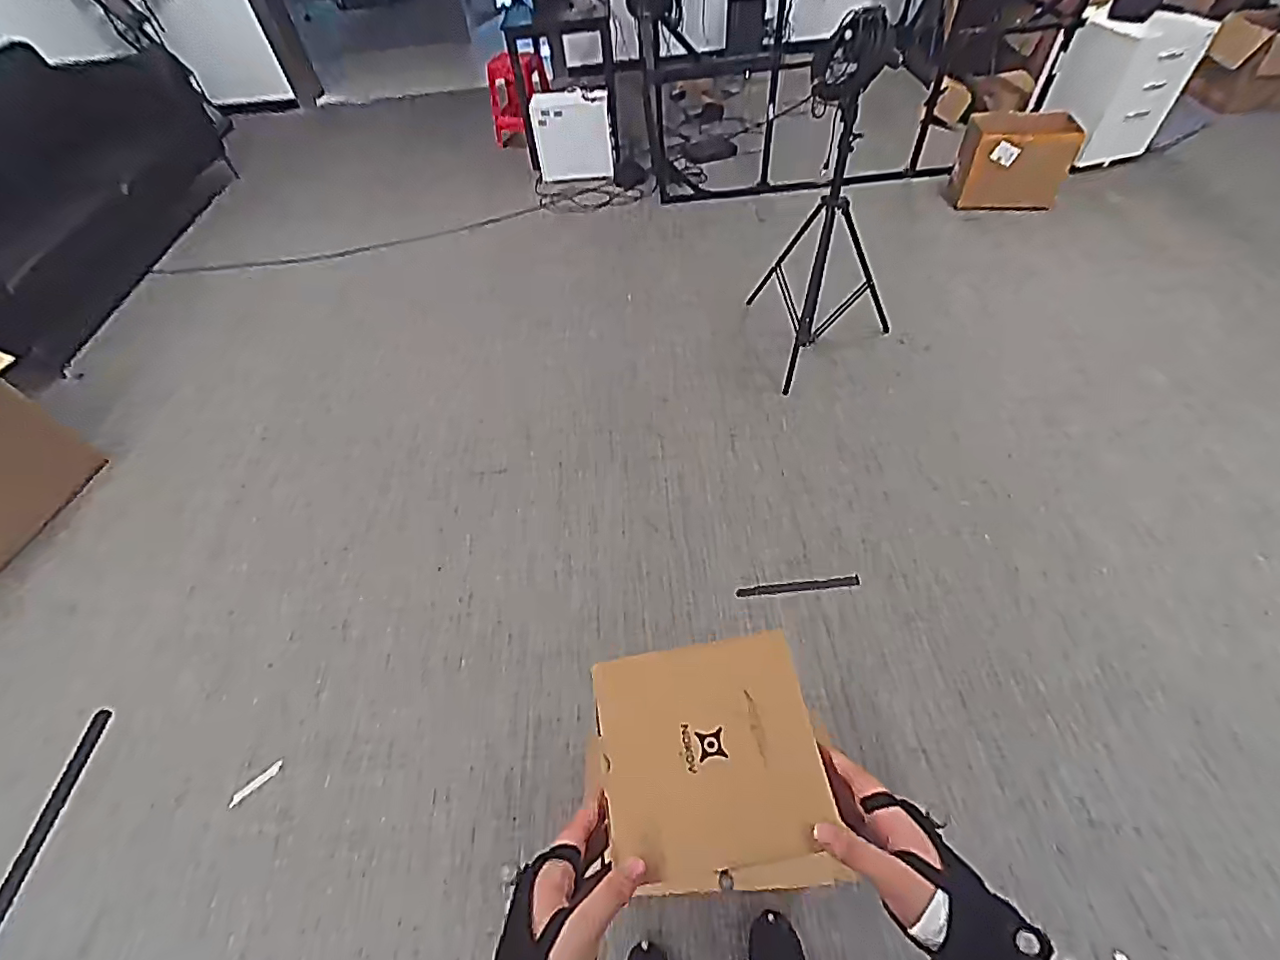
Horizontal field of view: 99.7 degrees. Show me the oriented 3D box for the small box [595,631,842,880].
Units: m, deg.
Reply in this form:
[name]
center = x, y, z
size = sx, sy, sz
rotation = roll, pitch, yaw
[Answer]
[small box]
center = 0.063, 0.264, 0.516
size = 0.179, 0.176, 0.168
rotation = -11, 57, -2
